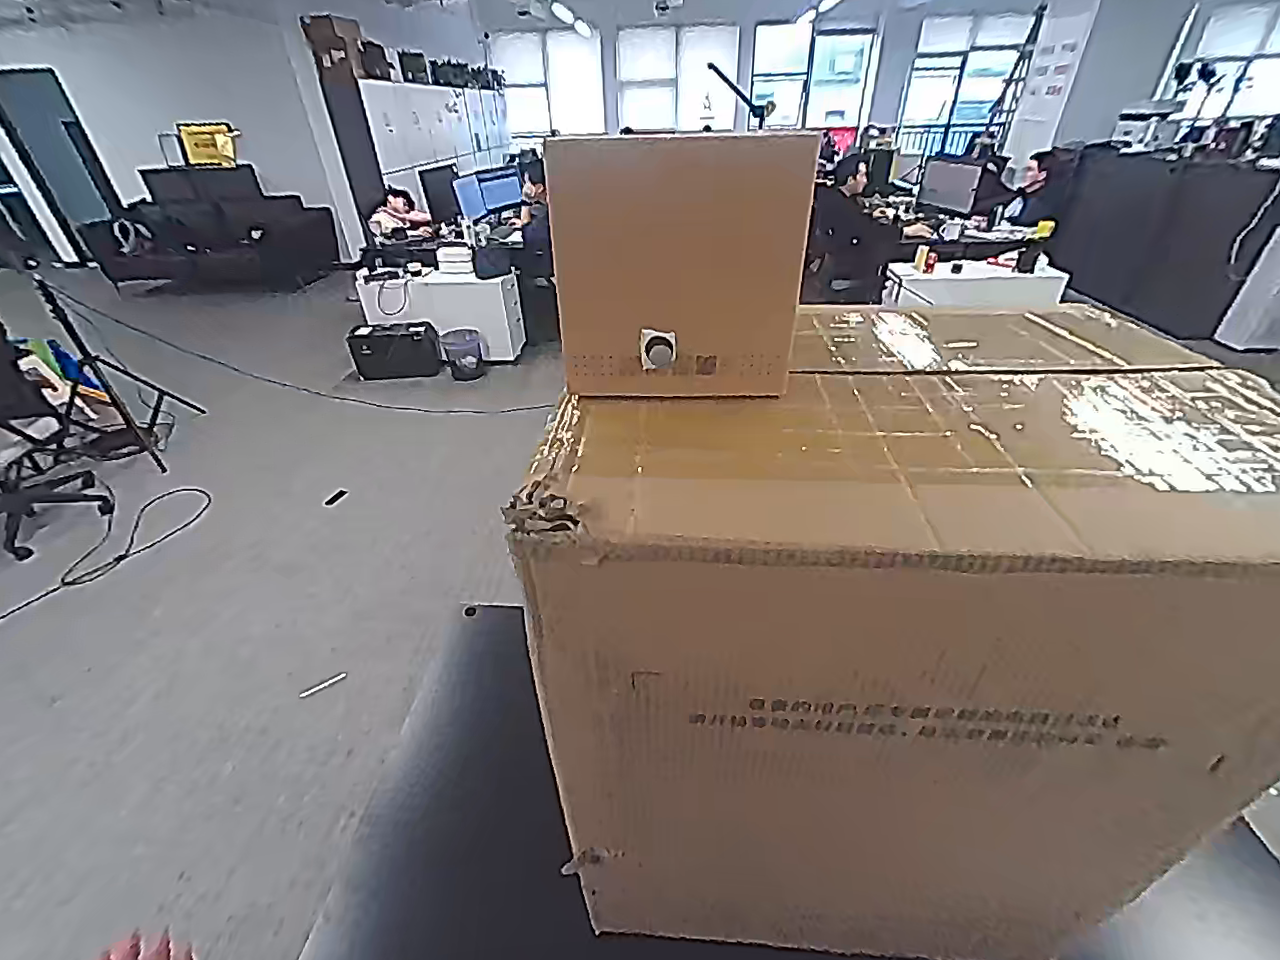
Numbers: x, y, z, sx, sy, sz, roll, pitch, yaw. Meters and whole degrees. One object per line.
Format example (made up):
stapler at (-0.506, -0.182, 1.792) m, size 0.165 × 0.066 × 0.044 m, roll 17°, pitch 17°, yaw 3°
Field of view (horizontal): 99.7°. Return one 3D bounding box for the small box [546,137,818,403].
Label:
small box at (0.027, -0.172, 0.433) m, size 0.168 × 0.176 × 0.179 m, roll -2°, pitch 34°, yaw 1°
